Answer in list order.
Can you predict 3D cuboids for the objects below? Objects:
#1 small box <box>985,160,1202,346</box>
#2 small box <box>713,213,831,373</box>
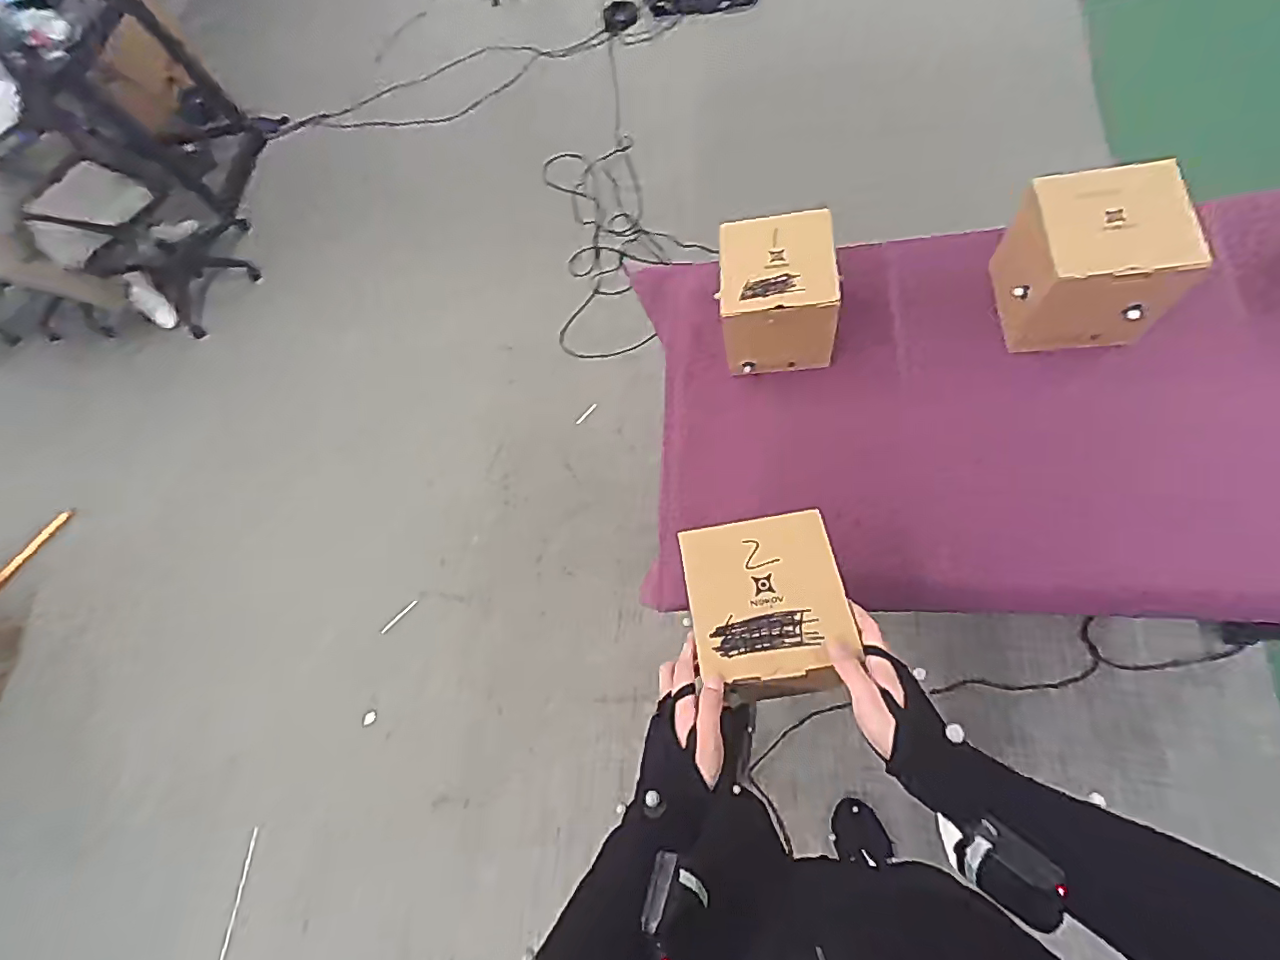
[{"bbox_3d":[0.621,-0.307,0.769,0.168,0.176,0.179,-2,68,14],"label":"small box"},{"bbox_3d":[0.209,-0.285,0.867,0.168,0.176,0.179,-3,67,13],"label":"small box"}]
